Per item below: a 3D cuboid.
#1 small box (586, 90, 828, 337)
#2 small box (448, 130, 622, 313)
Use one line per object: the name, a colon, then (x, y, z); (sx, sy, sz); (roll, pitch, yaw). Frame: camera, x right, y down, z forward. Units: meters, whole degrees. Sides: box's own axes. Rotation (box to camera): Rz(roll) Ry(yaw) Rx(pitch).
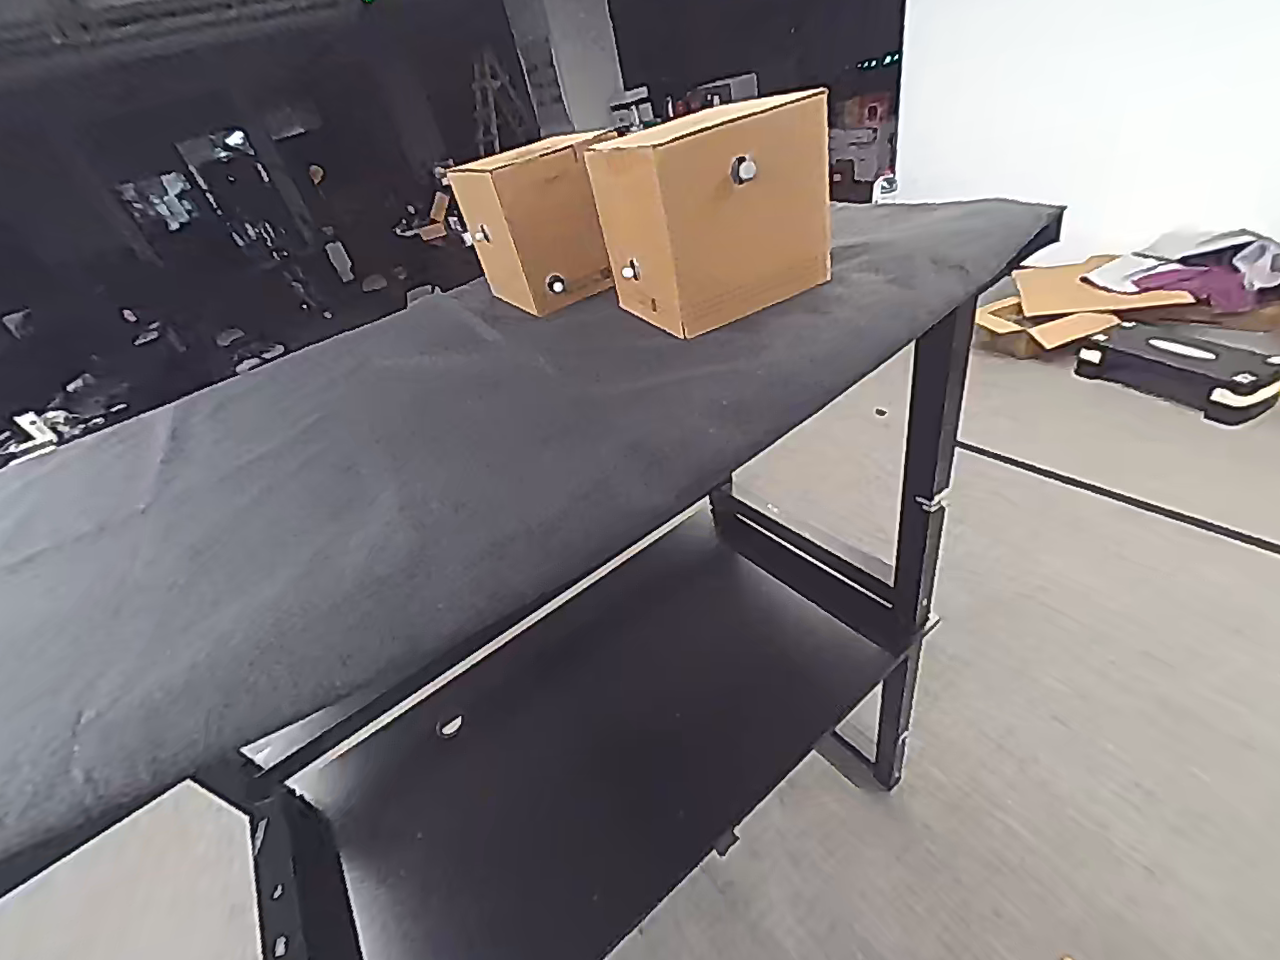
small box: (0.070, -0.269, 0.552); (0.179, 0.176, 0.168); (-26, 36, -12)
small box: (-0.121, -0.337, 0.712); (0.168, 0.176, 0.179); (-30, 38, -19)
